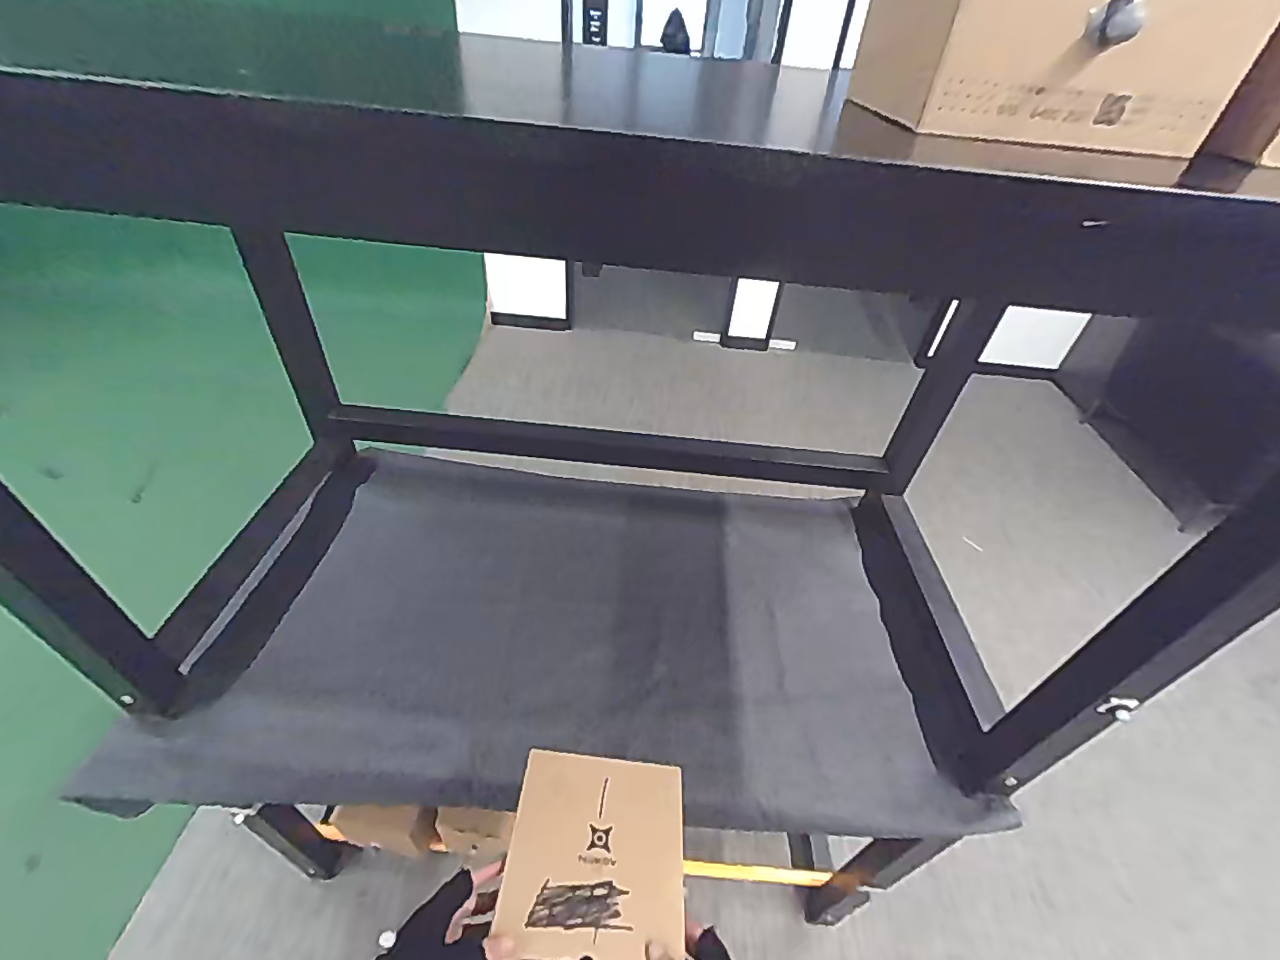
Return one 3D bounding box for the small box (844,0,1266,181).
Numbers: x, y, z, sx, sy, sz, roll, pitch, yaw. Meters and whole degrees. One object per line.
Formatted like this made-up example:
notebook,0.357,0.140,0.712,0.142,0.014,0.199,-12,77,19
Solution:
small box,0.249,-0.308,0.344,0.168,0.176,0.179,5,40,-1
